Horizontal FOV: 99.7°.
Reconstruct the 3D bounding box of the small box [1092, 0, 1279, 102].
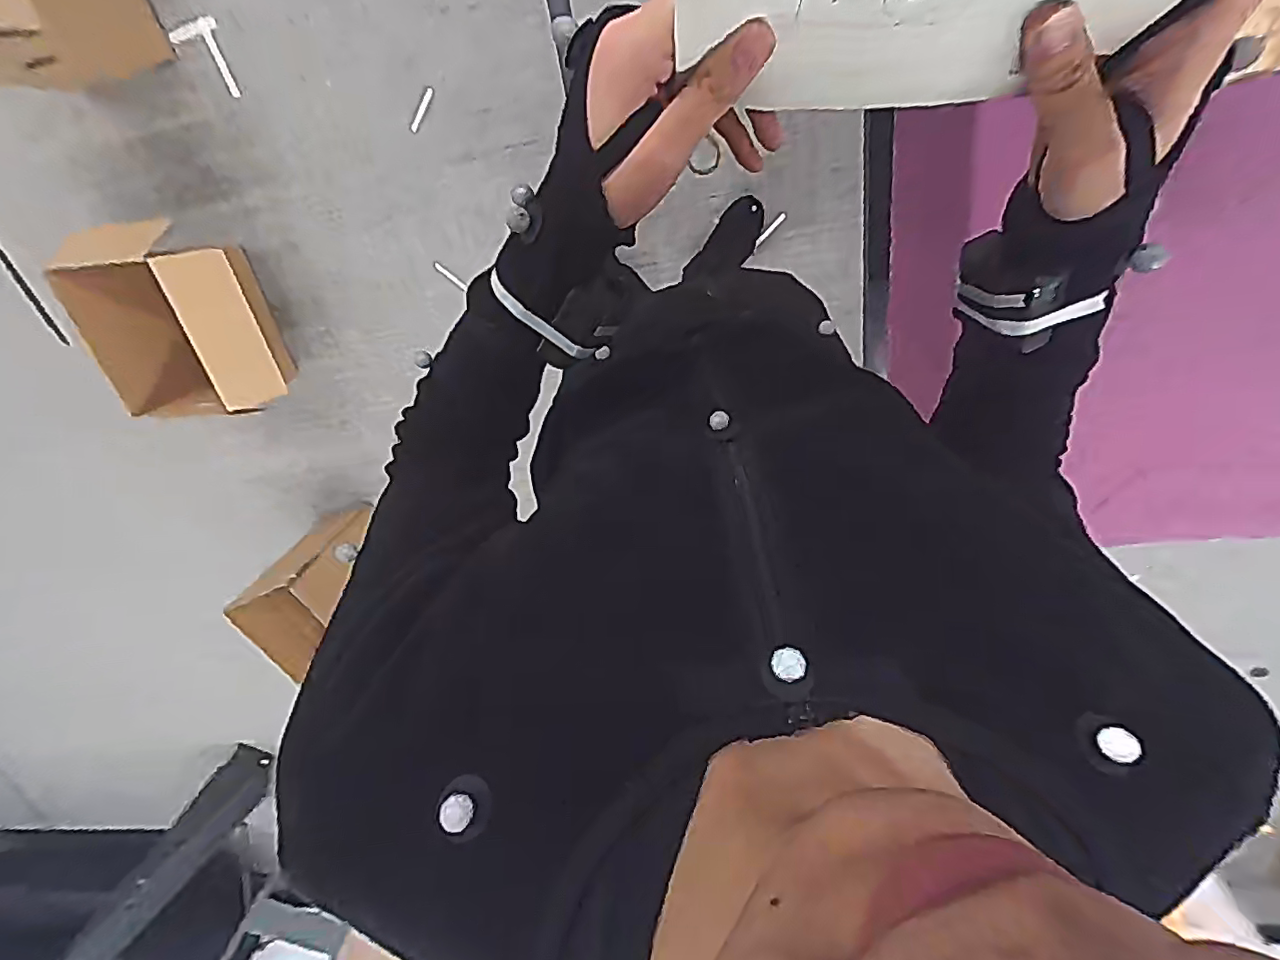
[{"bbox_3d":[0.563,-0.480,0.498,0.168,0.176,0.179,-10,119,13],"label":"small box"}]
